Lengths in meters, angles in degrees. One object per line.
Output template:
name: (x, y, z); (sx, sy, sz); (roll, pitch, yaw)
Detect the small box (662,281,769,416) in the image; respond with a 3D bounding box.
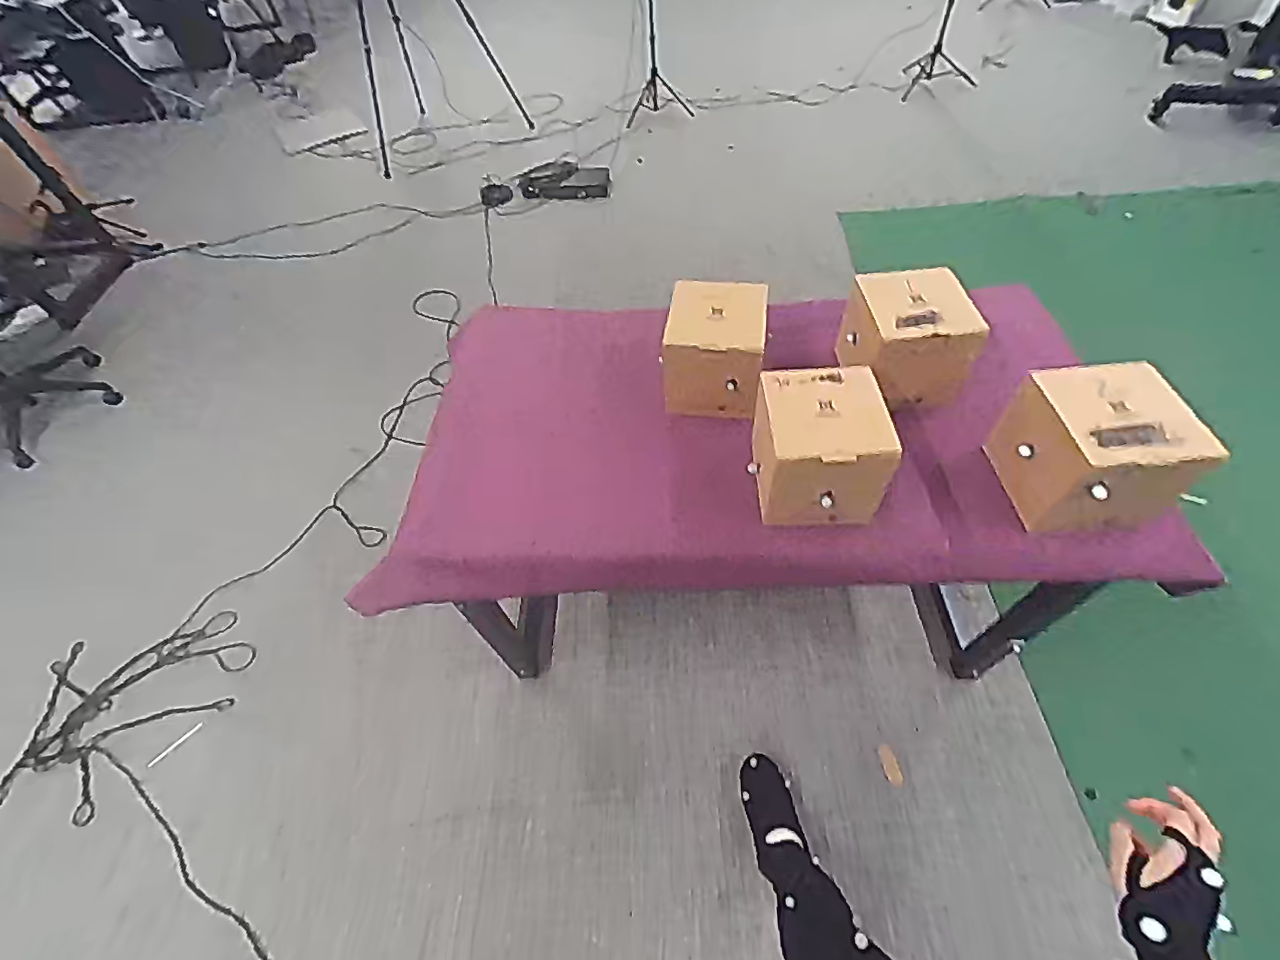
small box: (0.137, -0.235, 0.978); (0.168, 0.176, 0.179); (6, 55, 9)

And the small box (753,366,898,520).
small box: (0.268, -0.050, 0.825); (0.168, 0.176, 0.179); (-2, 53, 4)

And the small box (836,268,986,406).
small box: (0.461, -0.244, 0.951); (0.168, 0.176, 0.179); (-3, 52, 3)
